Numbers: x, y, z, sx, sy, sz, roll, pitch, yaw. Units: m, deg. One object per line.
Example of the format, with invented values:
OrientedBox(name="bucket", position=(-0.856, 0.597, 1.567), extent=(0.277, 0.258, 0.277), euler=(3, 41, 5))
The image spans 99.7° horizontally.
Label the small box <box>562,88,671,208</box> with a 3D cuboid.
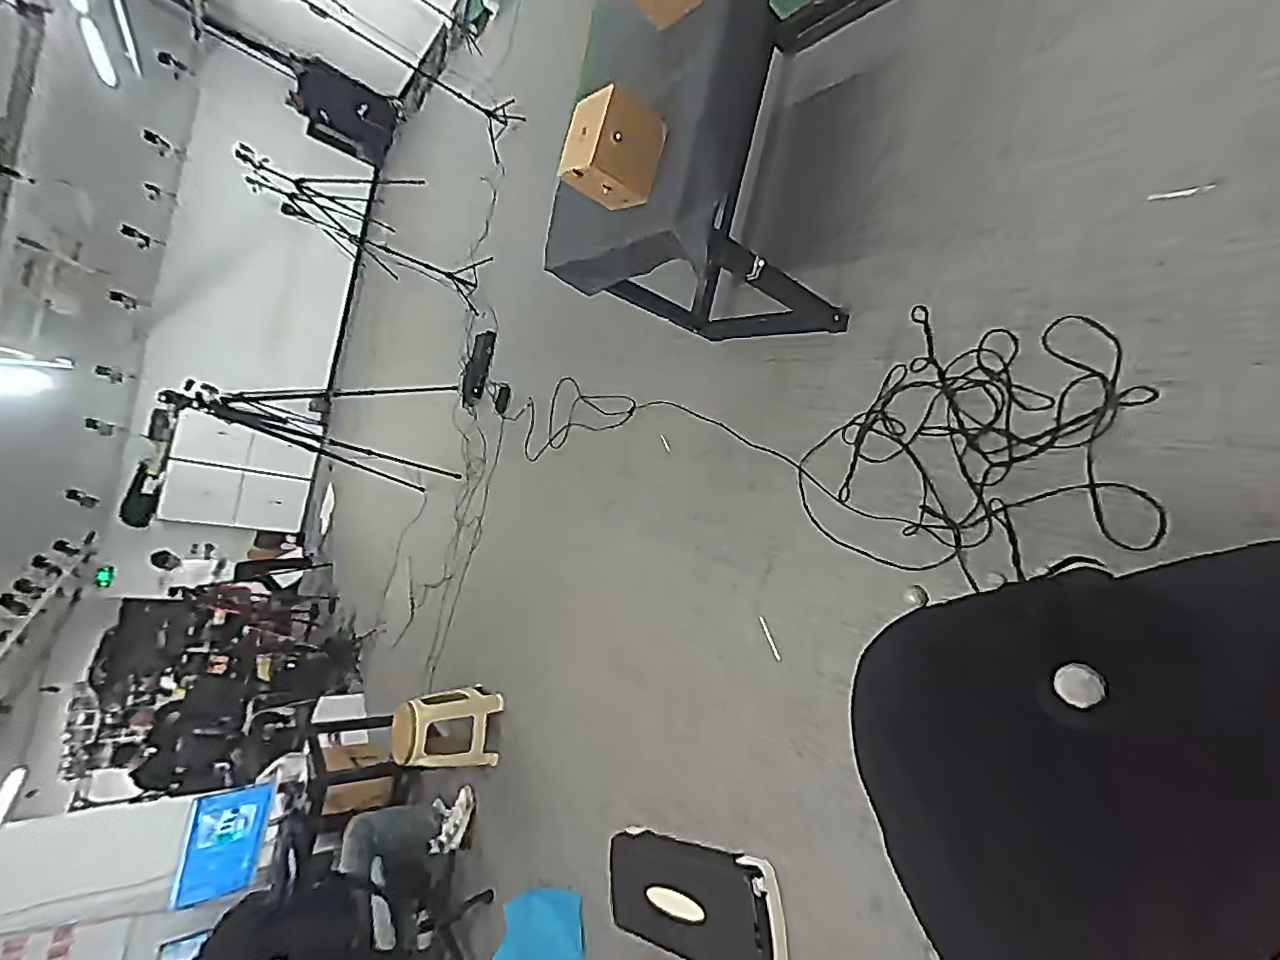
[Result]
OrientedBox(name="small box", position=(-0.053, -0.759, 1.265), extent=(0.168, 0.176, 0.179), euler=(25, 99, 51))
